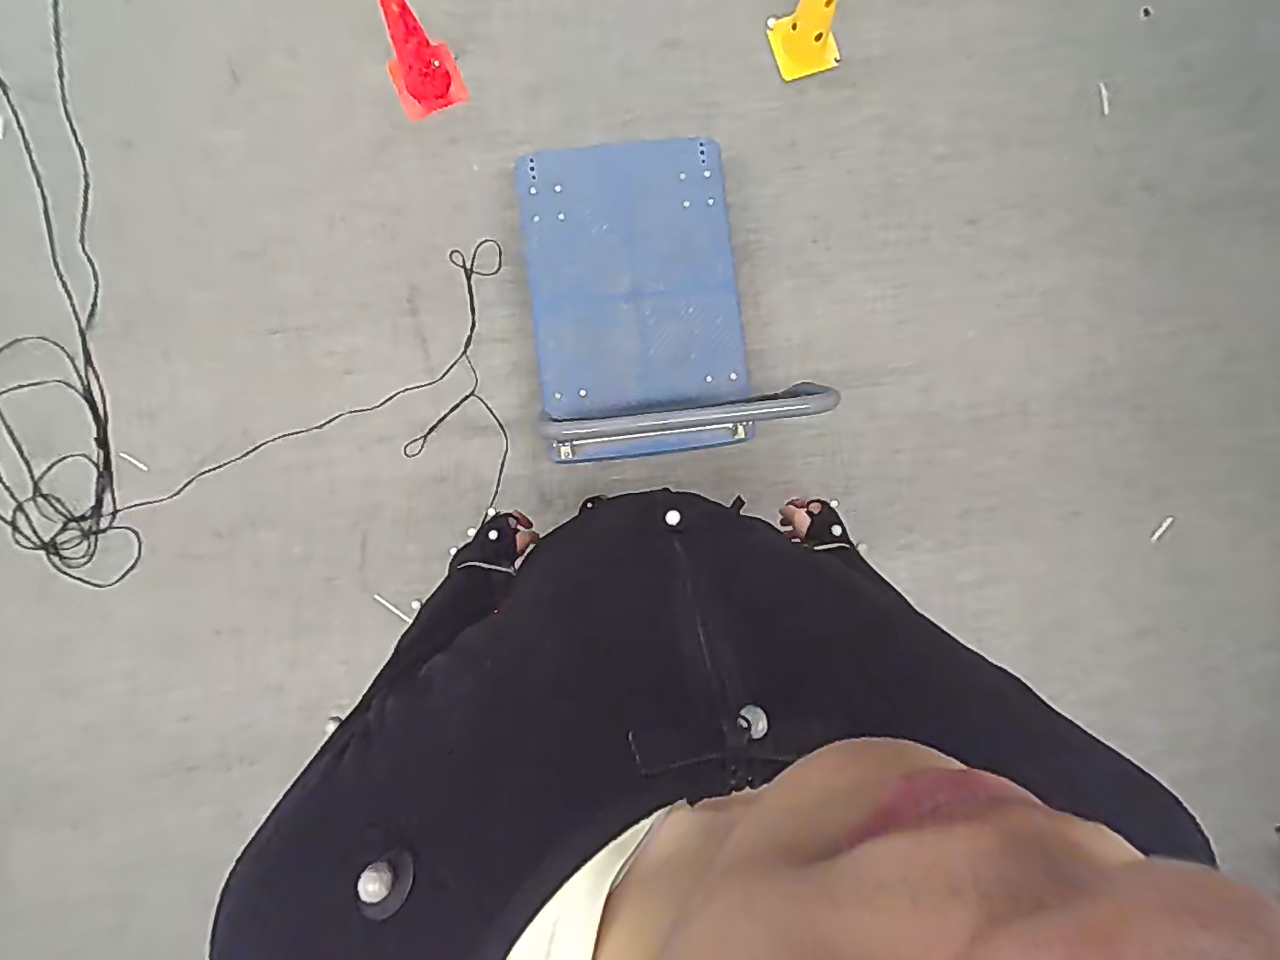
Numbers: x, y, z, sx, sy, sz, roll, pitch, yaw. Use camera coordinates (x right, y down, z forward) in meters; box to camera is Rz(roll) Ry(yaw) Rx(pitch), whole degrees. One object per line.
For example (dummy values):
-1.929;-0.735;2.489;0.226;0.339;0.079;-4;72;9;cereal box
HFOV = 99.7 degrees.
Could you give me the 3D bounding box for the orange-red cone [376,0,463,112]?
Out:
-0.657;-1.246;1.484;0.199;0.360;0.198;-22;88;-2;orange-red cone
